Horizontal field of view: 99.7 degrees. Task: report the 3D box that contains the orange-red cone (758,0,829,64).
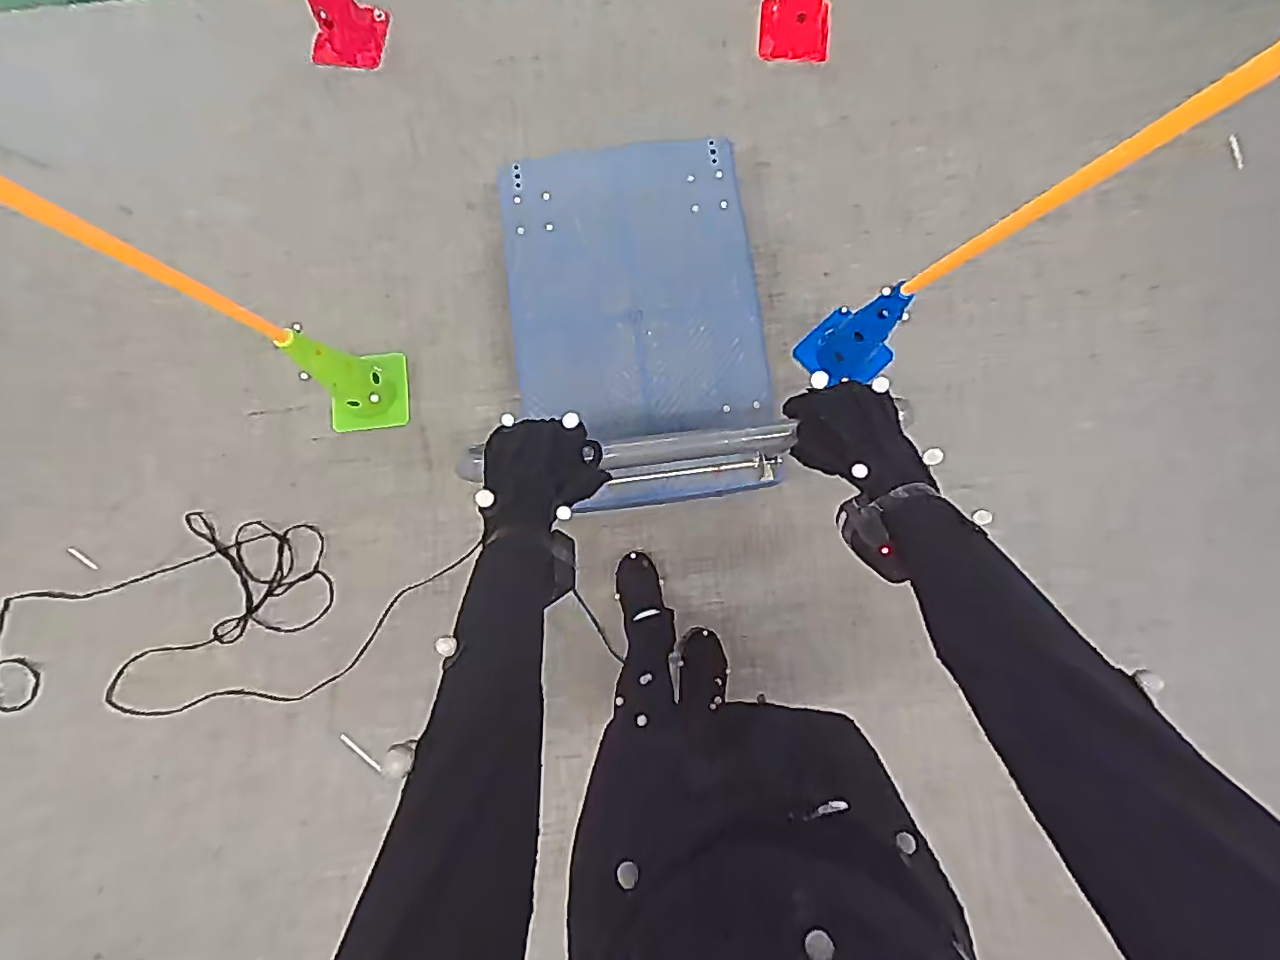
[{"bbox_3d":[0.442,-1.319,1.398,0.198,0.360,0.199,5,82,2],"label":"orange-red cone"}]
